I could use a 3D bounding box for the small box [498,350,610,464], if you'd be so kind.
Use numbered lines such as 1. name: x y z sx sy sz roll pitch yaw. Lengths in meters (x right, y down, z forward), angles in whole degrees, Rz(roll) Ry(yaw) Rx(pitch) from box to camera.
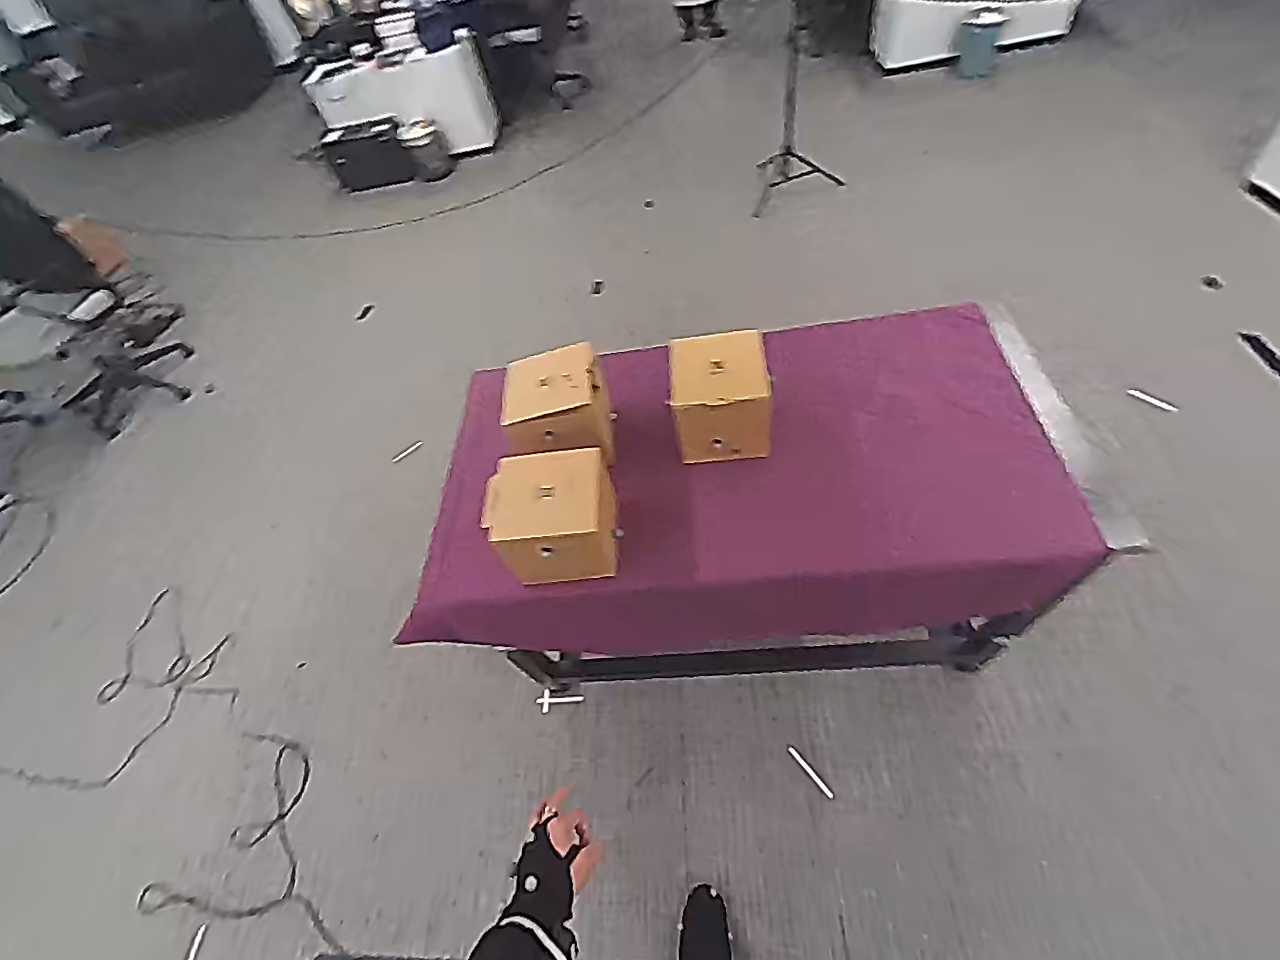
1. small box: -0.163 -0.130 1.080 0.179 0.176 0.168 -8 55 6

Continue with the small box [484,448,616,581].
1. small box: -0.146 0.067 0.940 0.179 0.176 0.168 -6 55 7
